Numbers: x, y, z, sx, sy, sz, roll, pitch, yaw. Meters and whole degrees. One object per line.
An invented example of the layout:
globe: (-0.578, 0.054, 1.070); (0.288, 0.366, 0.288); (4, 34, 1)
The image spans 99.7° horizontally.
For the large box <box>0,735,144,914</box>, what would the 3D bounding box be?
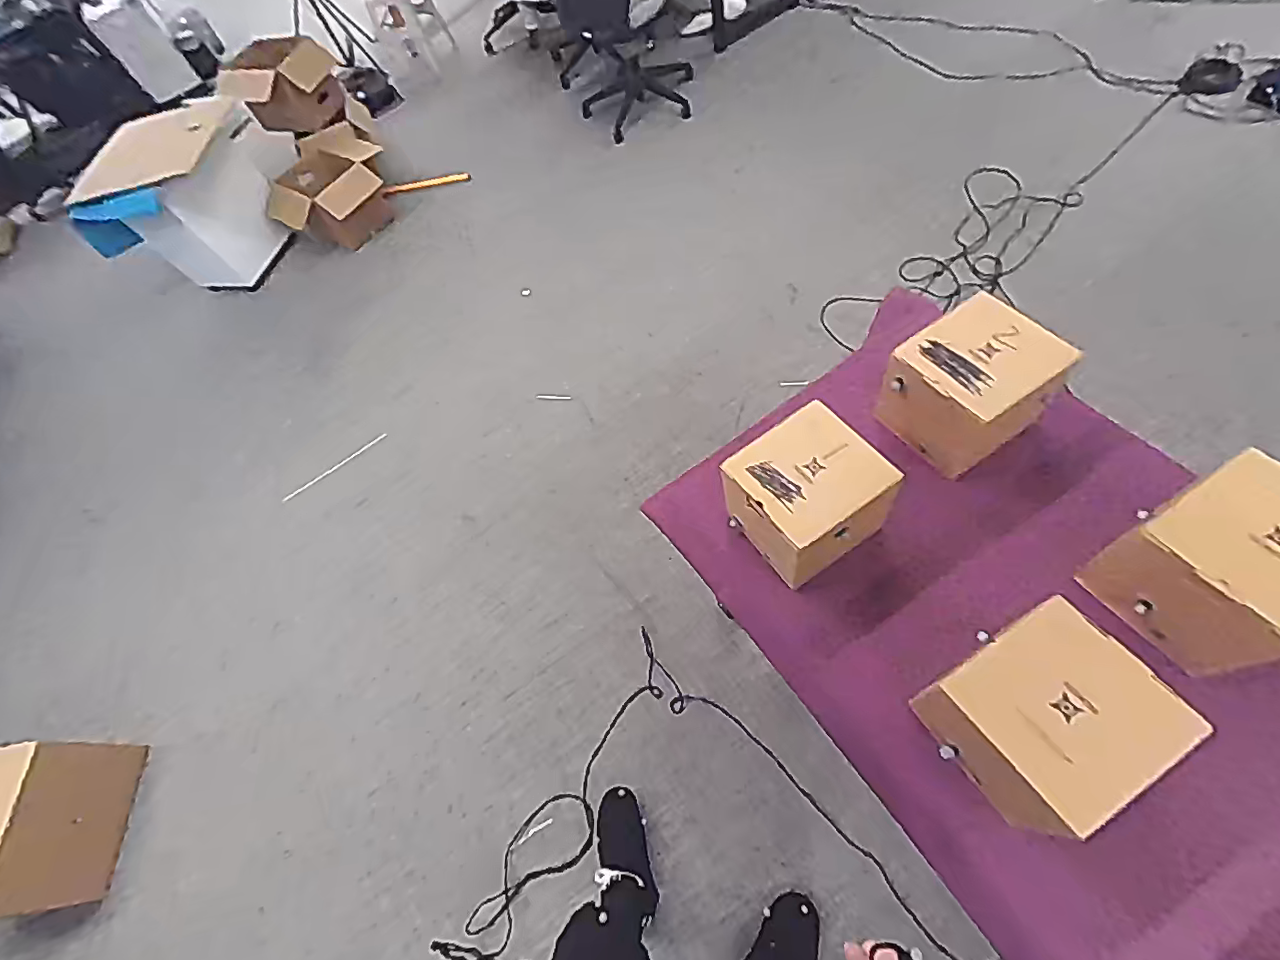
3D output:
large box: (-1.717, 0.963, 1.512); (0.320, 0.320, 0.408); (-13, 60, 6)

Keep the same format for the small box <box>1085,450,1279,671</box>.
small box: (0.699, 0.102, 0.648); (0.179, 0.176, 0.168); (-34, 60, -5)

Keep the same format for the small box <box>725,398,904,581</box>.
small box: (0.247, 0.022, 0.795); (0.179, 0.176, 0.168); (-33, 60, -7)
